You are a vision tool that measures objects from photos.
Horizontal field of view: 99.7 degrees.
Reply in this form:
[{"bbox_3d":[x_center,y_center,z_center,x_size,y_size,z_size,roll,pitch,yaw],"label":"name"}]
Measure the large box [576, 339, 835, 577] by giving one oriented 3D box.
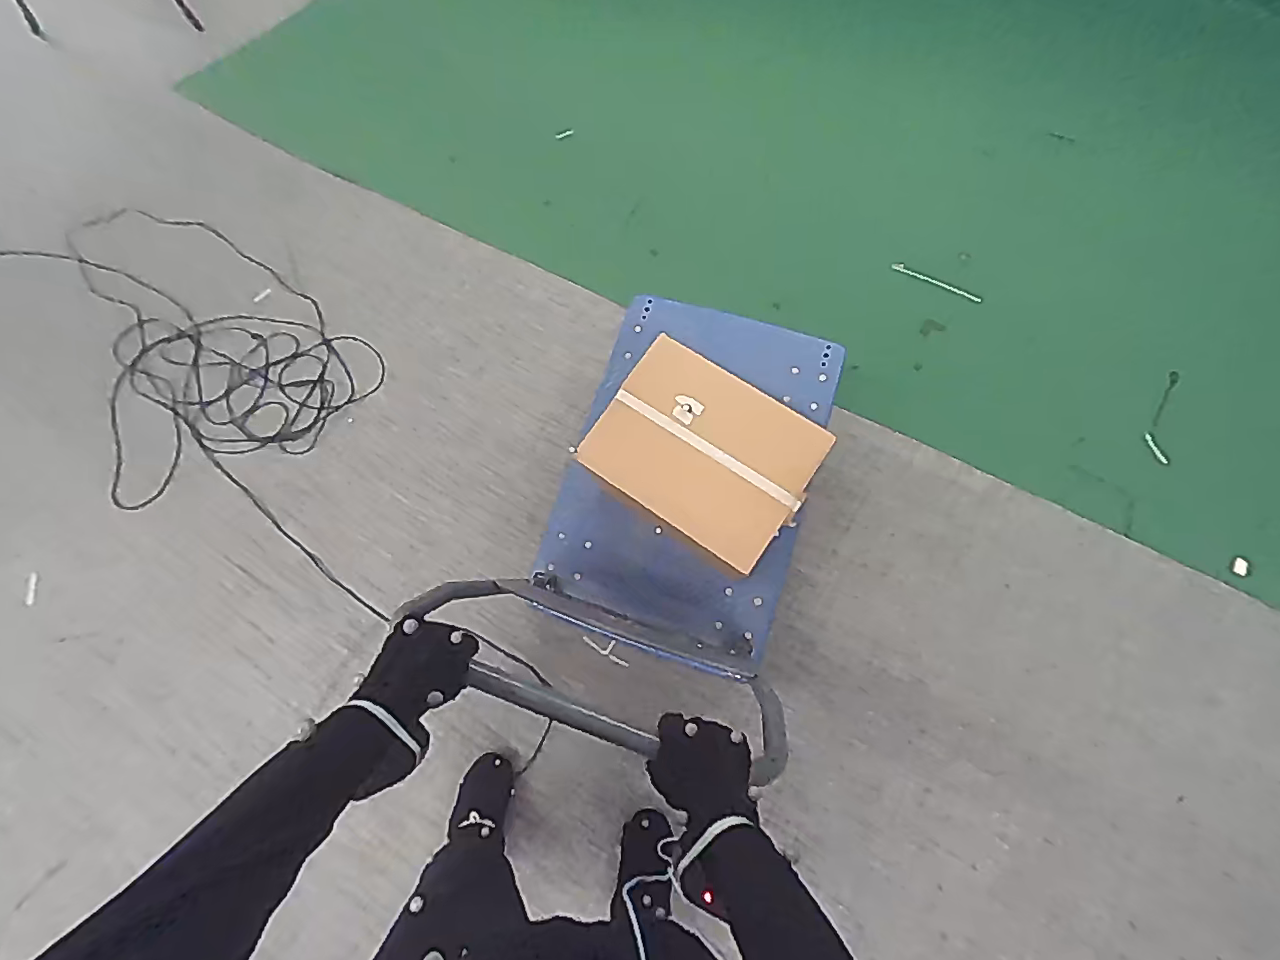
[{"bbox_3d":[0.140,-0.027,1.172,0.408,0.320,0.320,33,83,13],"label":"large box"}]
